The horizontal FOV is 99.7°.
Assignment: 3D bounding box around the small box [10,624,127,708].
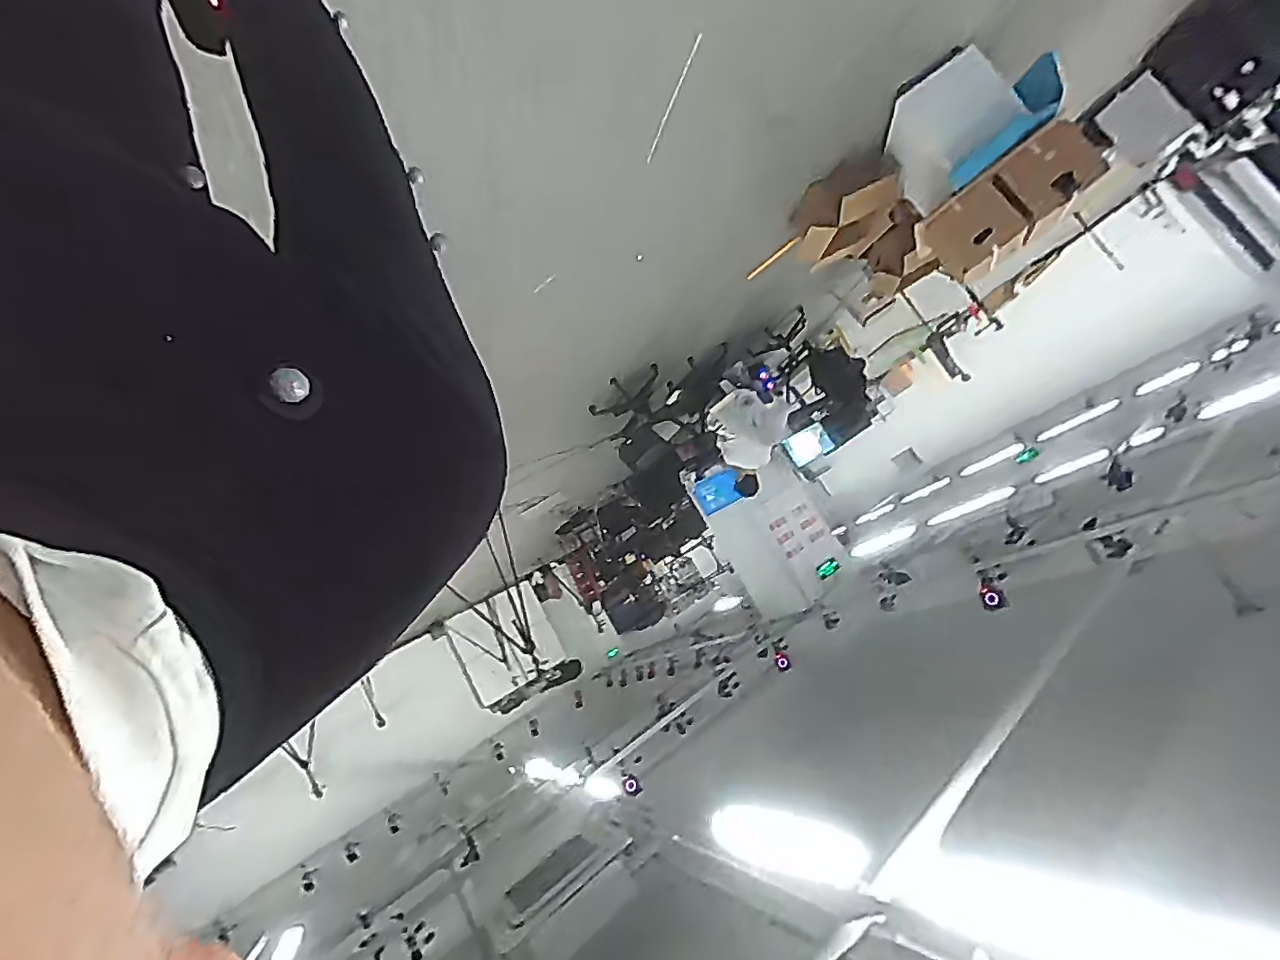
[{"bbox_3d":[-1.649,0.536,1.567,0.168,0.176,0.179,-25,170,-32],"label":"small box"}]
